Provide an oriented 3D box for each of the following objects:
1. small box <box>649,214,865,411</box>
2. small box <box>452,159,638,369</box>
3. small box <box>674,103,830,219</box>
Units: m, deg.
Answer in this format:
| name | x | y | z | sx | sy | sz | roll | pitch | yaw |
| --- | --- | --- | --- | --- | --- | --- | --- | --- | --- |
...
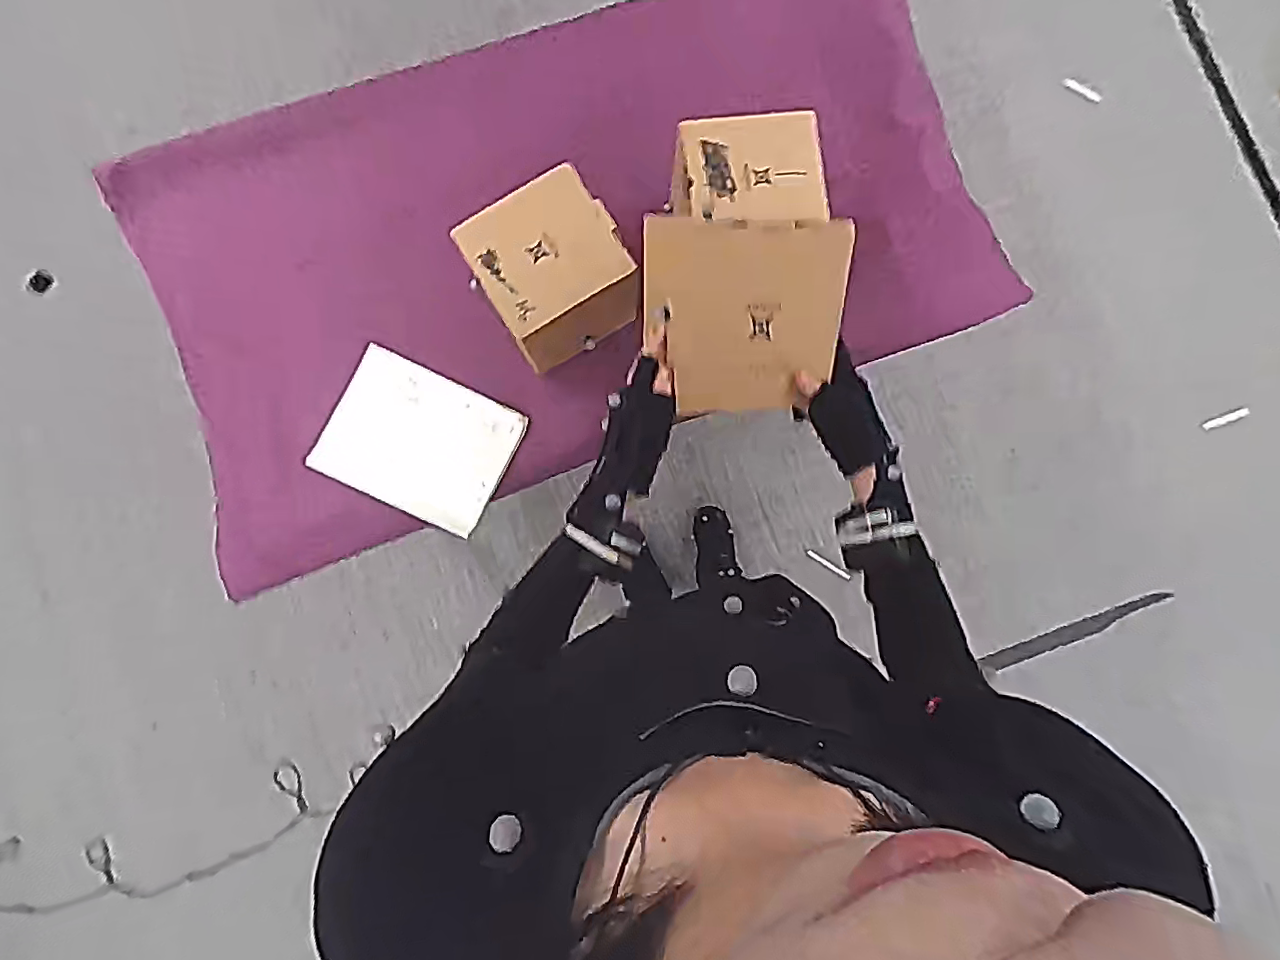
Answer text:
| name | x | y | z | sx | sy | sz | roll | pitch | yaw |
| --- | --- | --- | --- | --- | --- | --- | --- | --- | --- |
| small box | 0.106 | -0.183 | 0.577 | 0.168 | 0.176 | 0.179 | -3 | 117 | -10 |
| small box | -0.120 | -0.280 | 0.739 | 0.179 | 0.176 | 0.168 | -33 | 86 | -4 |
| small box | 0.141 | -0.379 | 0.751 | 0.179 | 0.176 | 0.168 | -6 | 85 | -2 |
